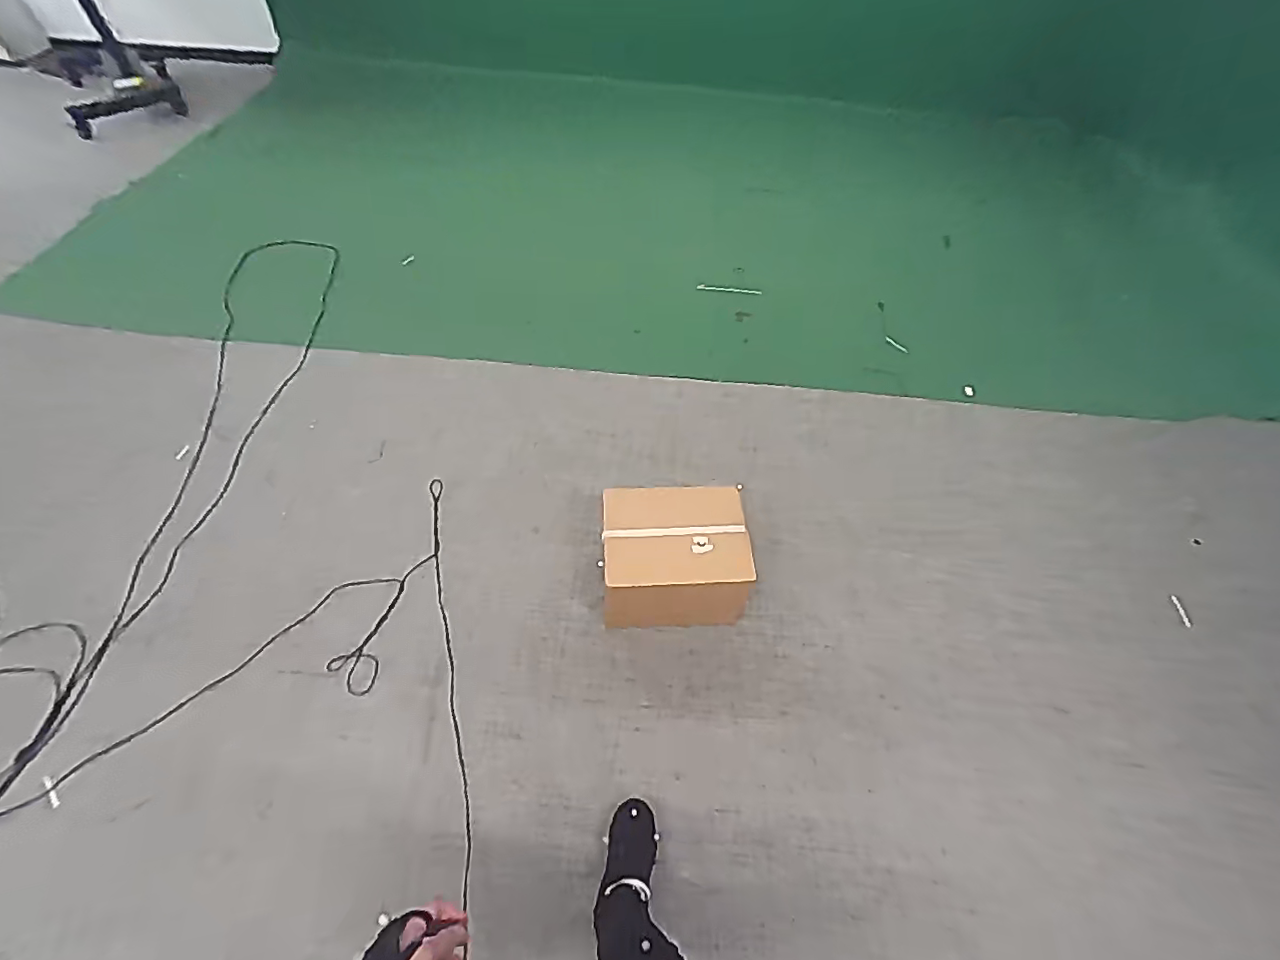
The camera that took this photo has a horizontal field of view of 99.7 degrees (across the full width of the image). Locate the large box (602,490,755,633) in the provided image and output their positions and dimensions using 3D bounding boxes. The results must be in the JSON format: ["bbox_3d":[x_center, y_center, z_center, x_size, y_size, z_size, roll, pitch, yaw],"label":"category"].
[{"bbox_3d":[0.092,0.249,1.630,0.408,0.320,0.320,-1,54,-4],"label":"large box"}]
